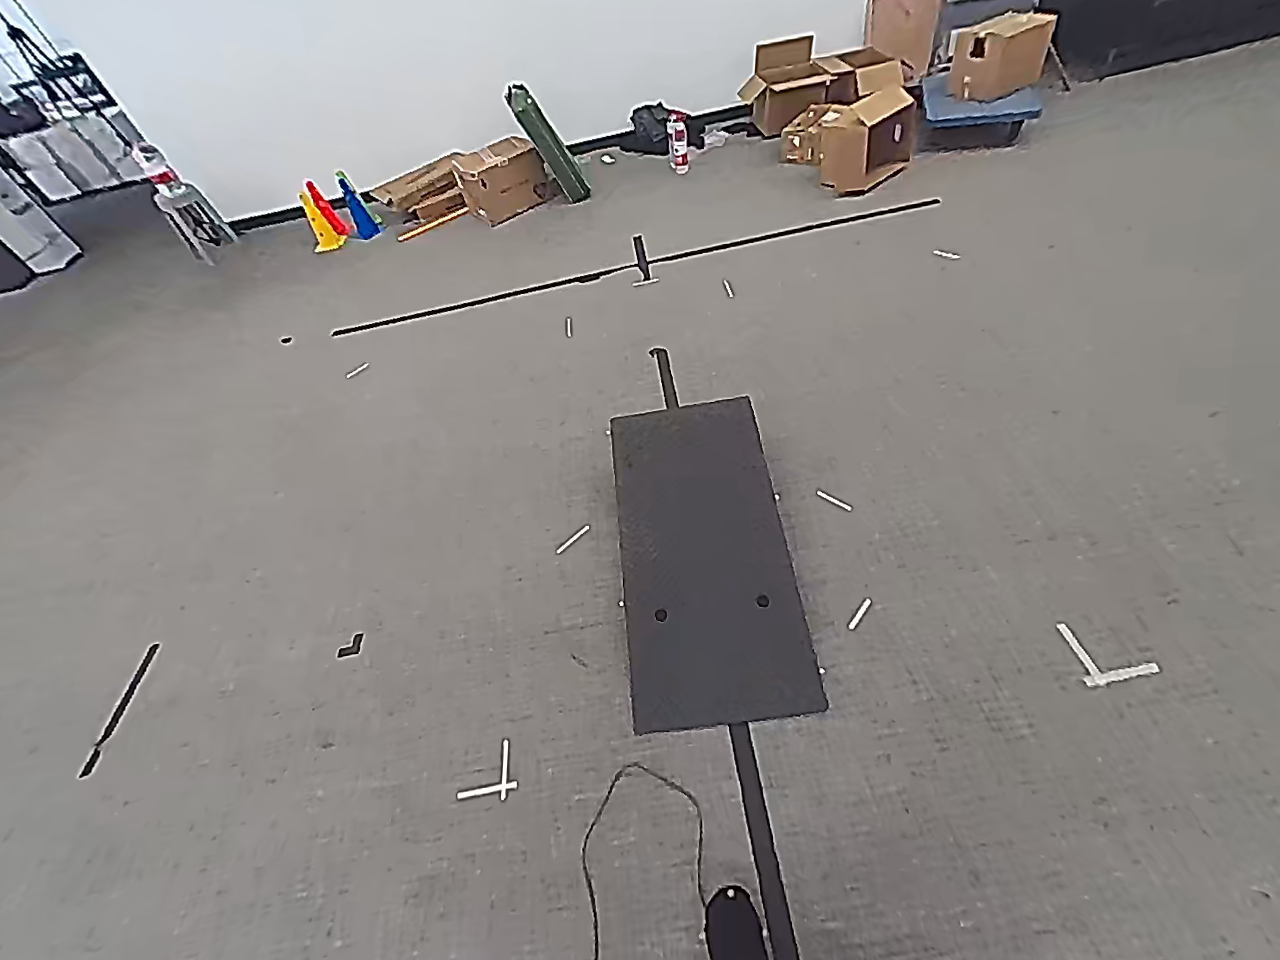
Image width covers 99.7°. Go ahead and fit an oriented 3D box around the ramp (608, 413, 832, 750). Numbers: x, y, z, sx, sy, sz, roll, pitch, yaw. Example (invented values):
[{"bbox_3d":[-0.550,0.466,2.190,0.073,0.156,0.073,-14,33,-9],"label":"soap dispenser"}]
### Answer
[{"bbox_3d":[0.188,0.230,1.624,0.509,0.206,0.991,-11,47,2],"label":"ramp"}]
